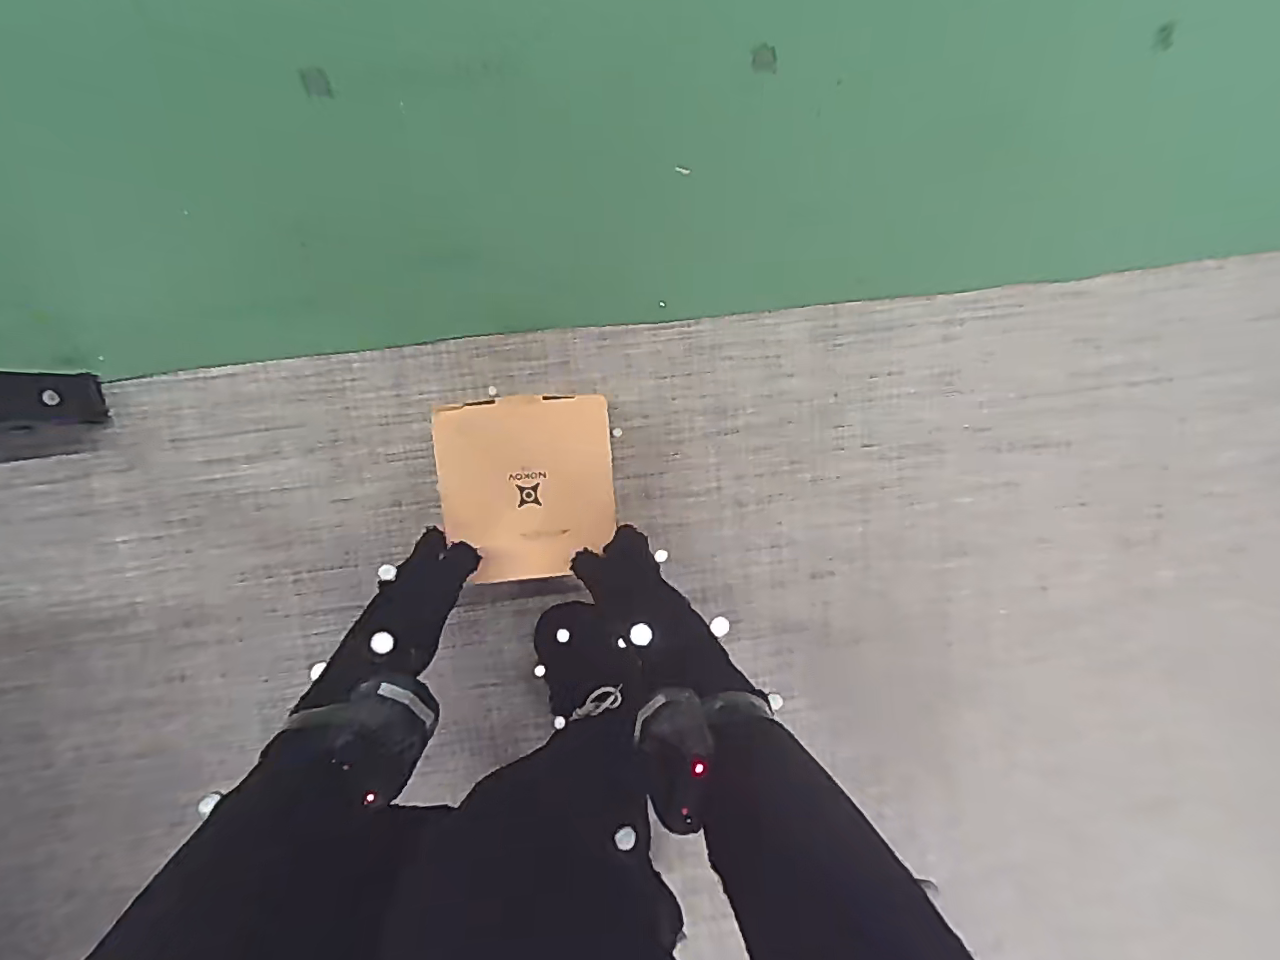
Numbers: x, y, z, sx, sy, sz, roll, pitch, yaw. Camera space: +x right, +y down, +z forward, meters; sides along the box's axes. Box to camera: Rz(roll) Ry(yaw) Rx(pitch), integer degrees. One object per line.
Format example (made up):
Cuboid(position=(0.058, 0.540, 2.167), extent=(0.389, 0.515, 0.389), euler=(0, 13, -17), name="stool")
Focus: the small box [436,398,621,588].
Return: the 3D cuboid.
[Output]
Cuboid(position=(-0.111, 0.003, 0.596), extent=(0.168, 0.176, 0.179), euler=(-4, 100, -3), name="small box")
